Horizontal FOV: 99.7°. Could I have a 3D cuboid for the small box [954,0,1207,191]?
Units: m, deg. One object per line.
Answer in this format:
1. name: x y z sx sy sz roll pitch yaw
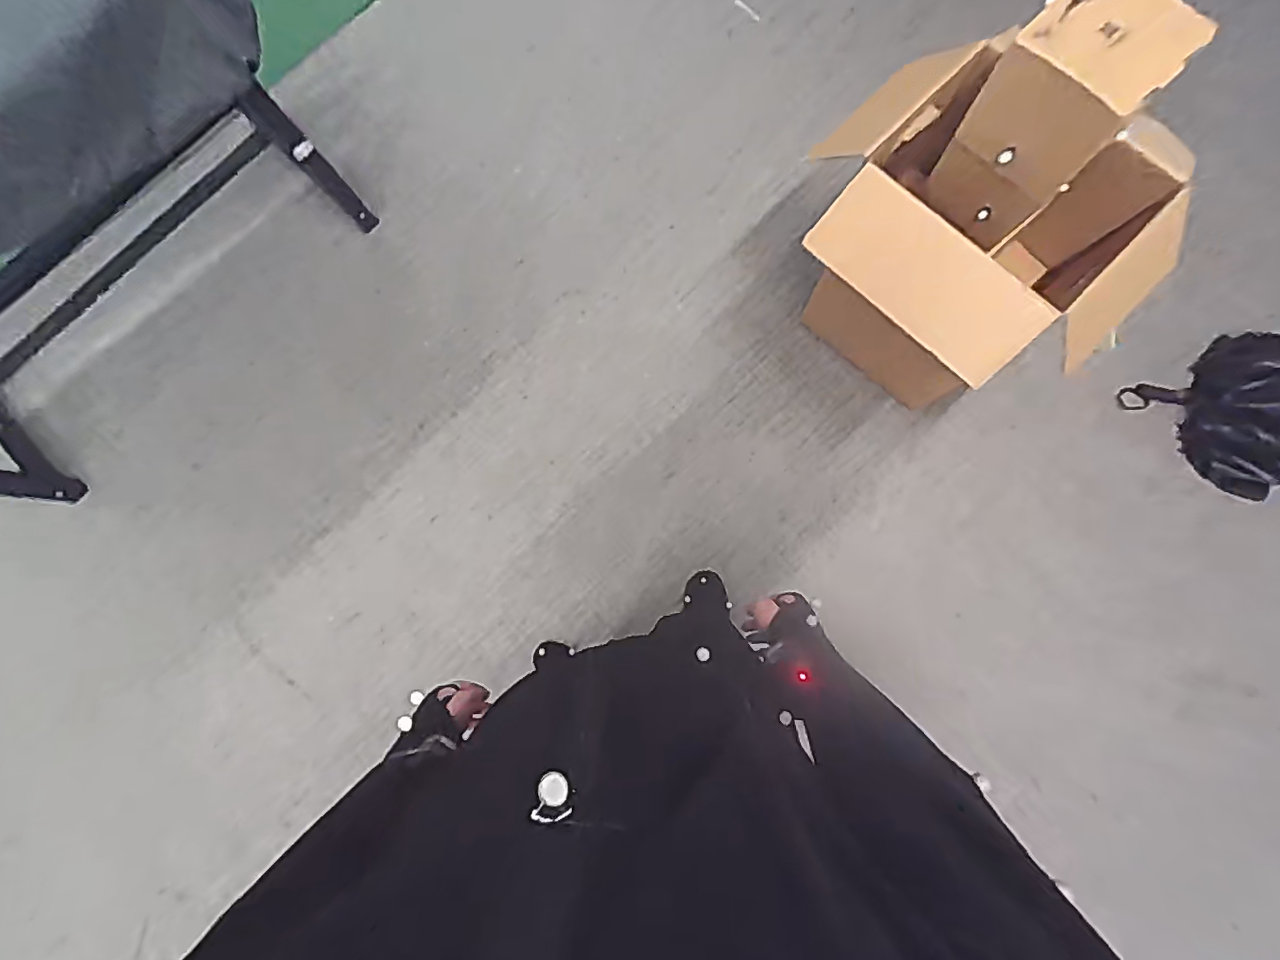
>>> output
1. small box: 0.597 -0.548 0.761 0.168 0.176 0.179 -43 80 -2
